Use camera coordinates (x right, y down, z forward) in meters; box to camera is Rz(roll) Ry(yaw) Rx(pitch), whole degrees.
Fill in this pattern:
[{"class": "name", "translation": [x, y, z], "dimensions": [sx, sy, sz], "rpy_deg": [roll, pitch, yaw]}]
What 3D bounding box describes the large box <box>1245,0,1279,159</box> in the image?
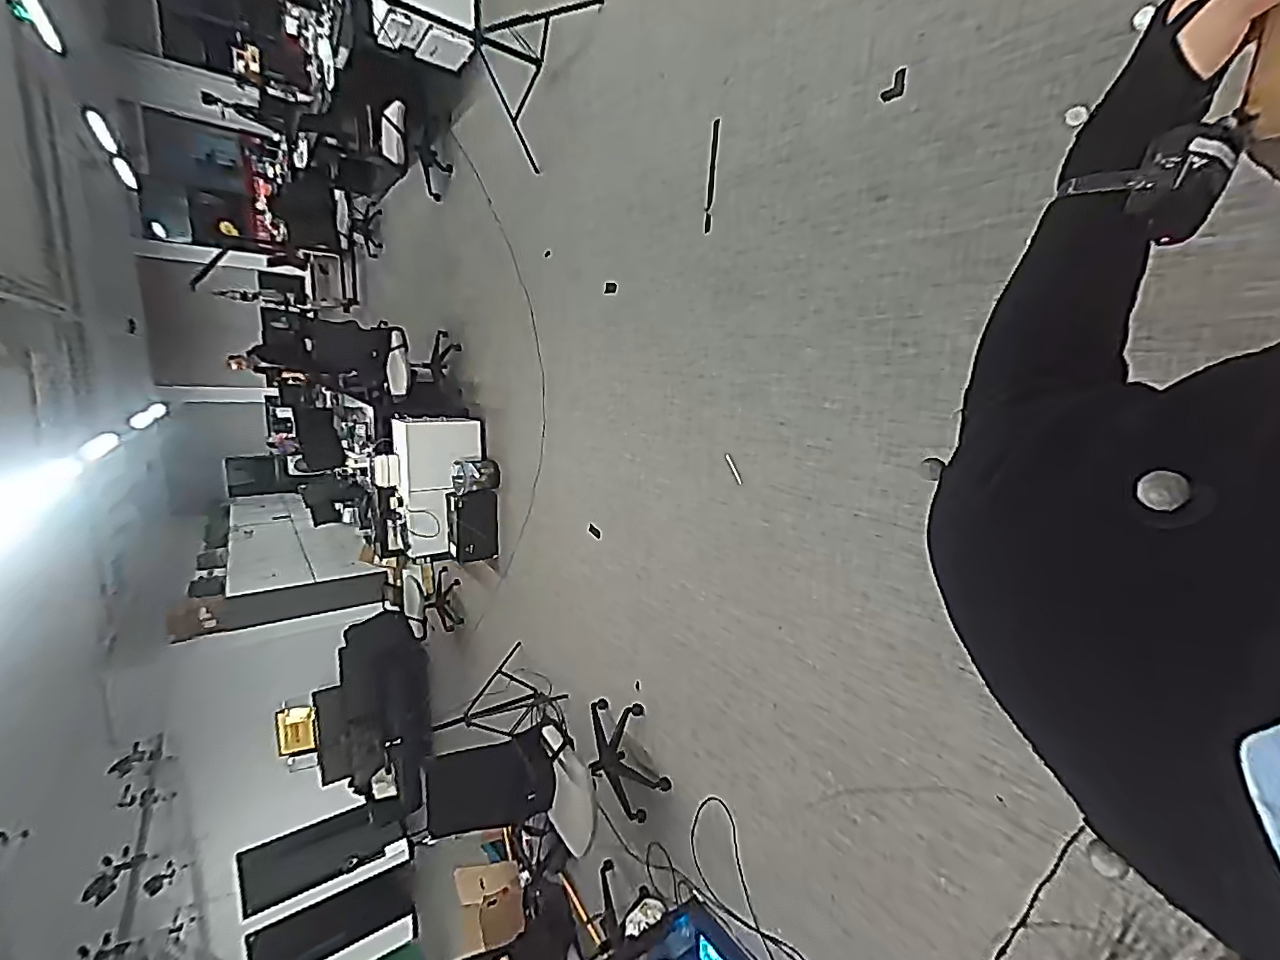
[{"class": "large box", "translation": [0.656, -0.367, 0.256], "dimensions": [0.408, 0.320, 0.320], "rpy_deg": [22, 117, 54]}]
